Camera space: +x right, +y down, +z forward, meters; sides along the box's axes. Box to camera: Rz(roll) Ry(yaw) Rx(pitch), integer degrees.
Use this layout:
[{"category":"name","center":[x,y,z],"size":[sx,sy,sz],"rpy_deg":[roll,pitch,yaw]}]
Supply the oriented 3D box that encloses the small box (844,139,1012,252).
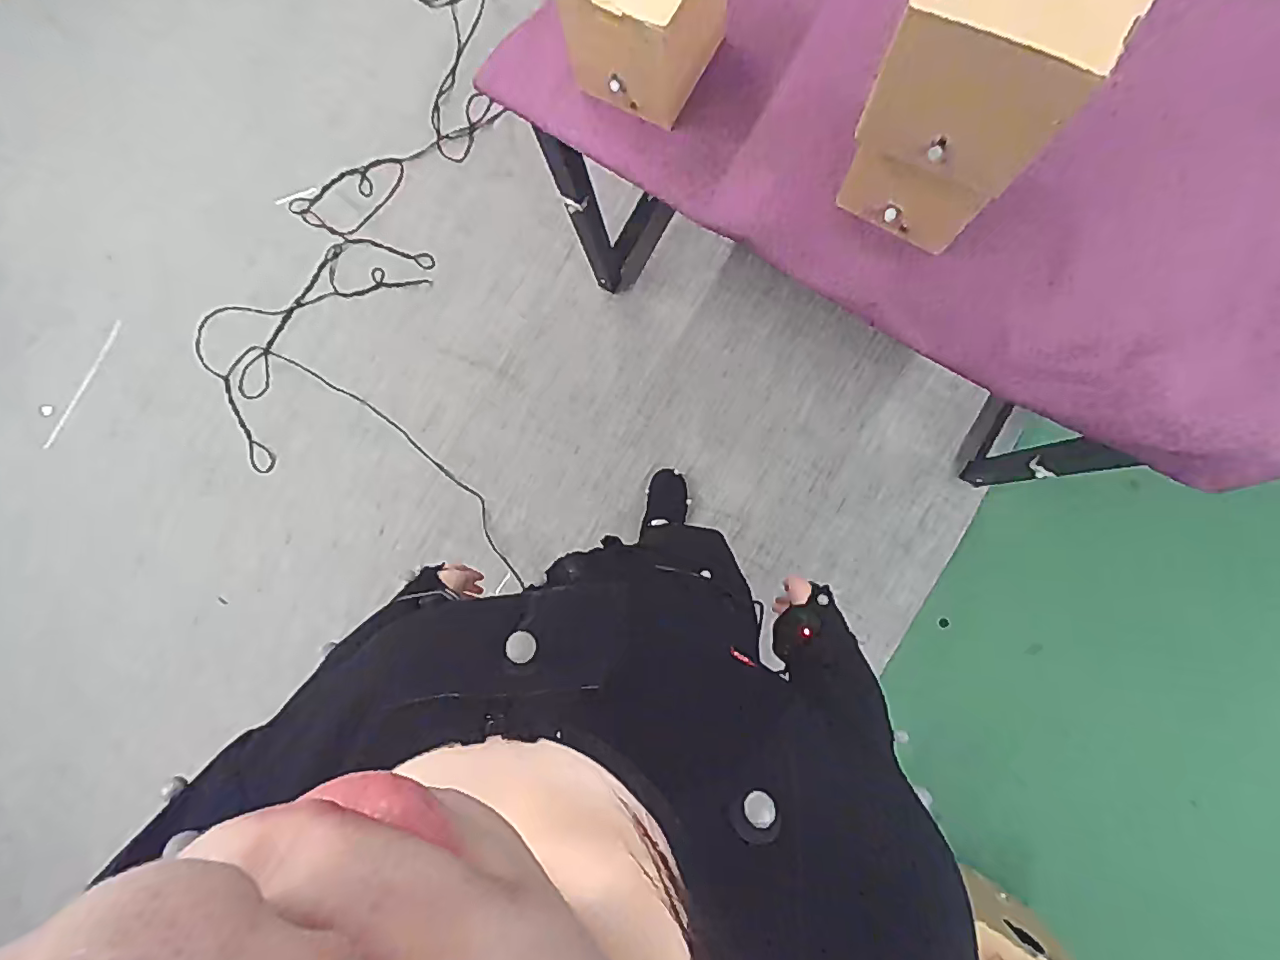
[{"category":"small box","center":[0.385,-0.431,0.682],"size":[0.168,0.176,0.179],"rpy_deg":[32,90,8]}]

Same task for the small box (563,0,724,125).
[{"category":"small box","center":[0.008,-0.643,0.735],"size":[0.168,0.176,0.179],"rpy_deg":[29,88,8]}]

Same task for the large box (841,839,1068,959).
[{"category":"large box","center":[0.700,1.131,1.193],"size":[0.320,0.320,0.408],"rpy_deg":[32,90,8]}]

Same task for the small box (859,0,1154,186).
[{"category":"small box","center":[0.347,-0.424,0.521],"size":[0.179,0.176,0.168],"rpy_deg":[28,89,7]}]
